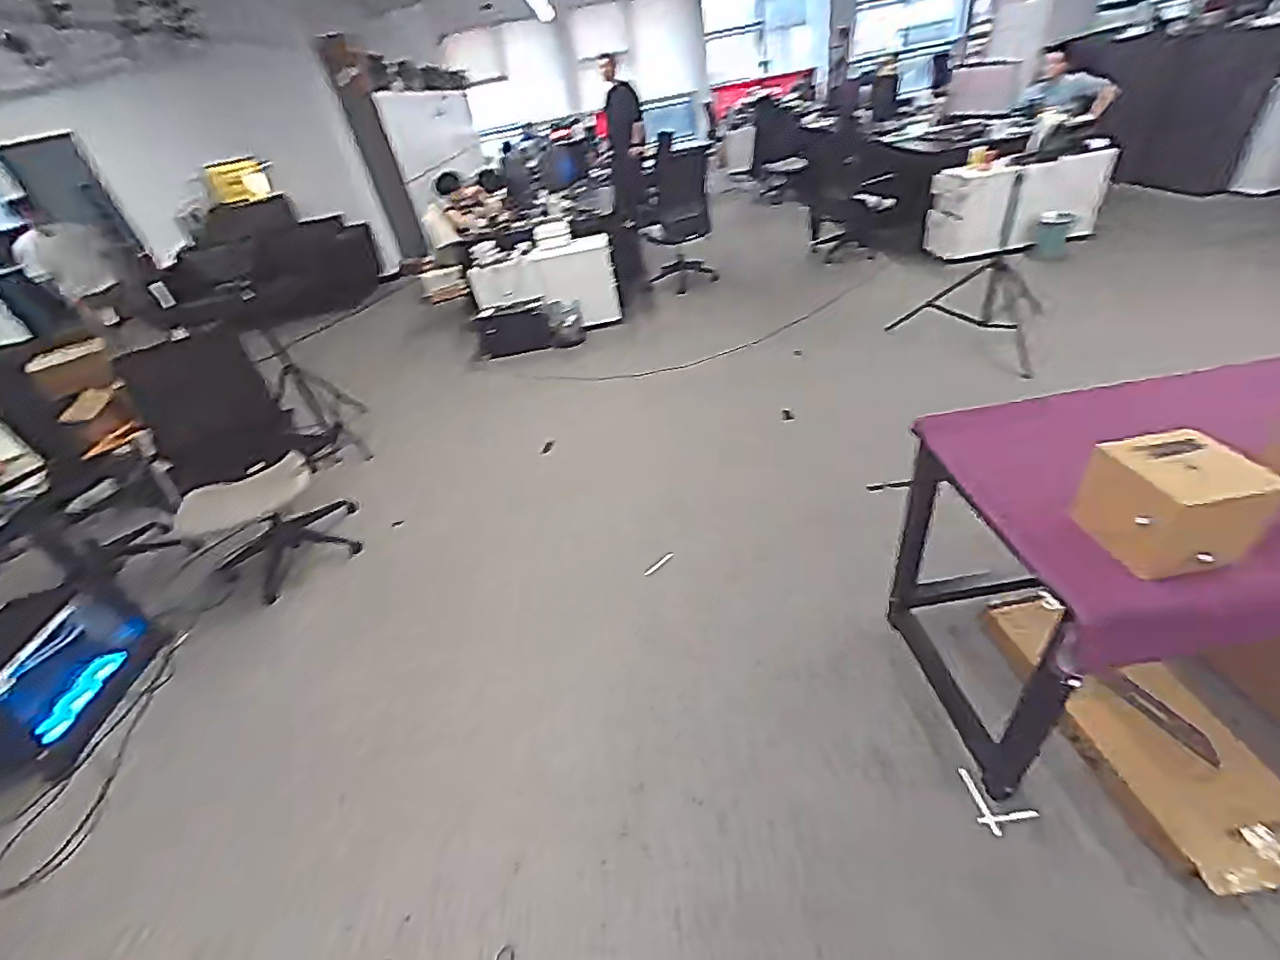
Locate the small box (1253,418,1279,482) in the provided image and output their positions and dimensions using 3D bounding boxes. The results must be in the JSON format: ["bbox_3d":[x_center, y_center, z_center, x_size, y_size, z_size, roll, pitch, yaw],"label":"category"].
[{"bbox_3d":[1.274,-0.067,0.954,0.179,0.176,0.168,-11,34,0],"label":"small box"}]
